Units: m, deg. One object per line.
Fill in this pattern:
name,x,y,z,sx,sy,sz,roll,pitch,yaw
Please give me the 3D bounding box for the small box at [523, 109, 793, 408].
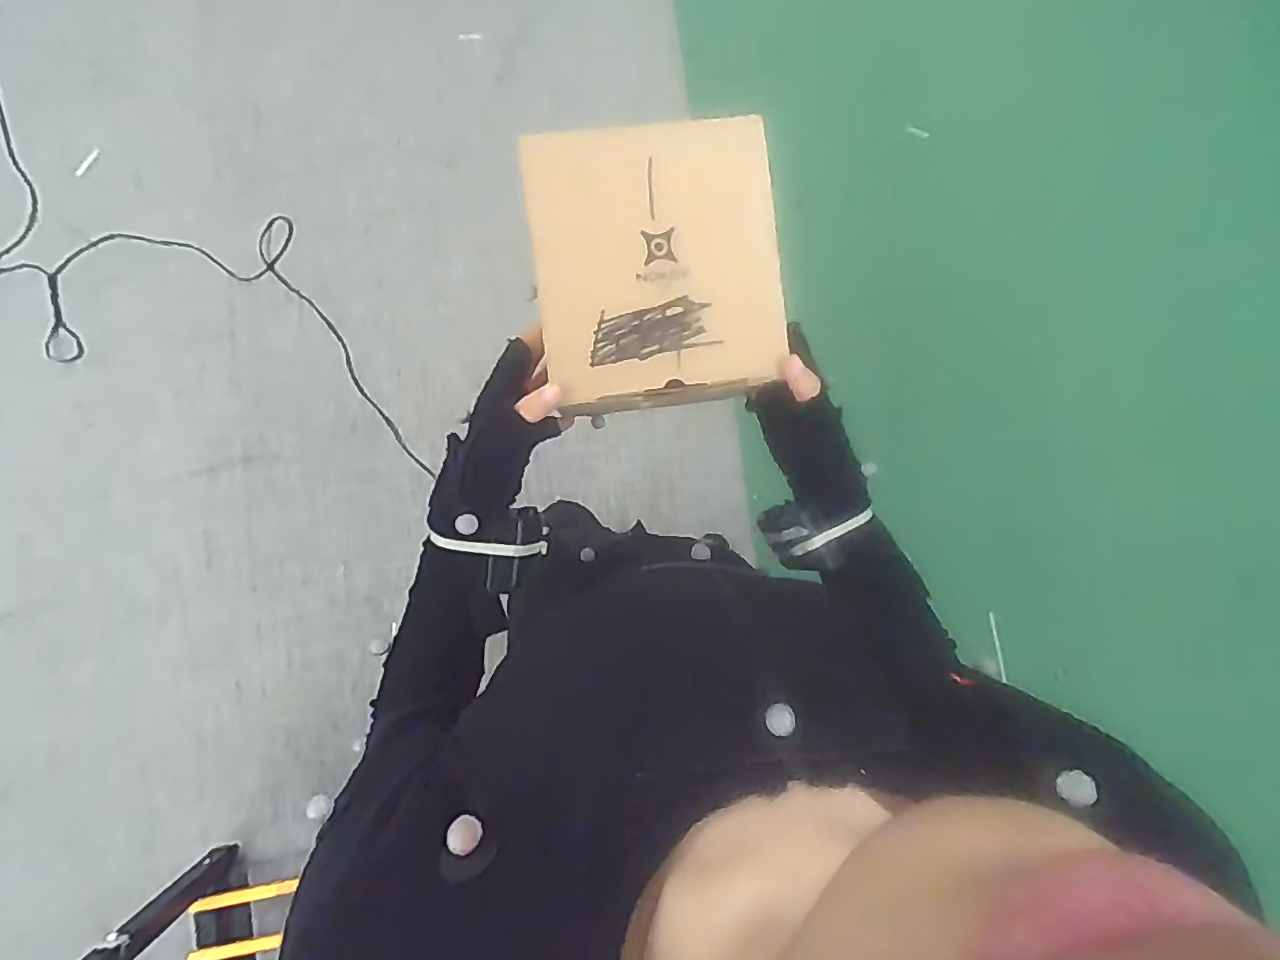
small box,0.008,-0.154,0.434,0.168,0.176,0.179,-7,93,-5
